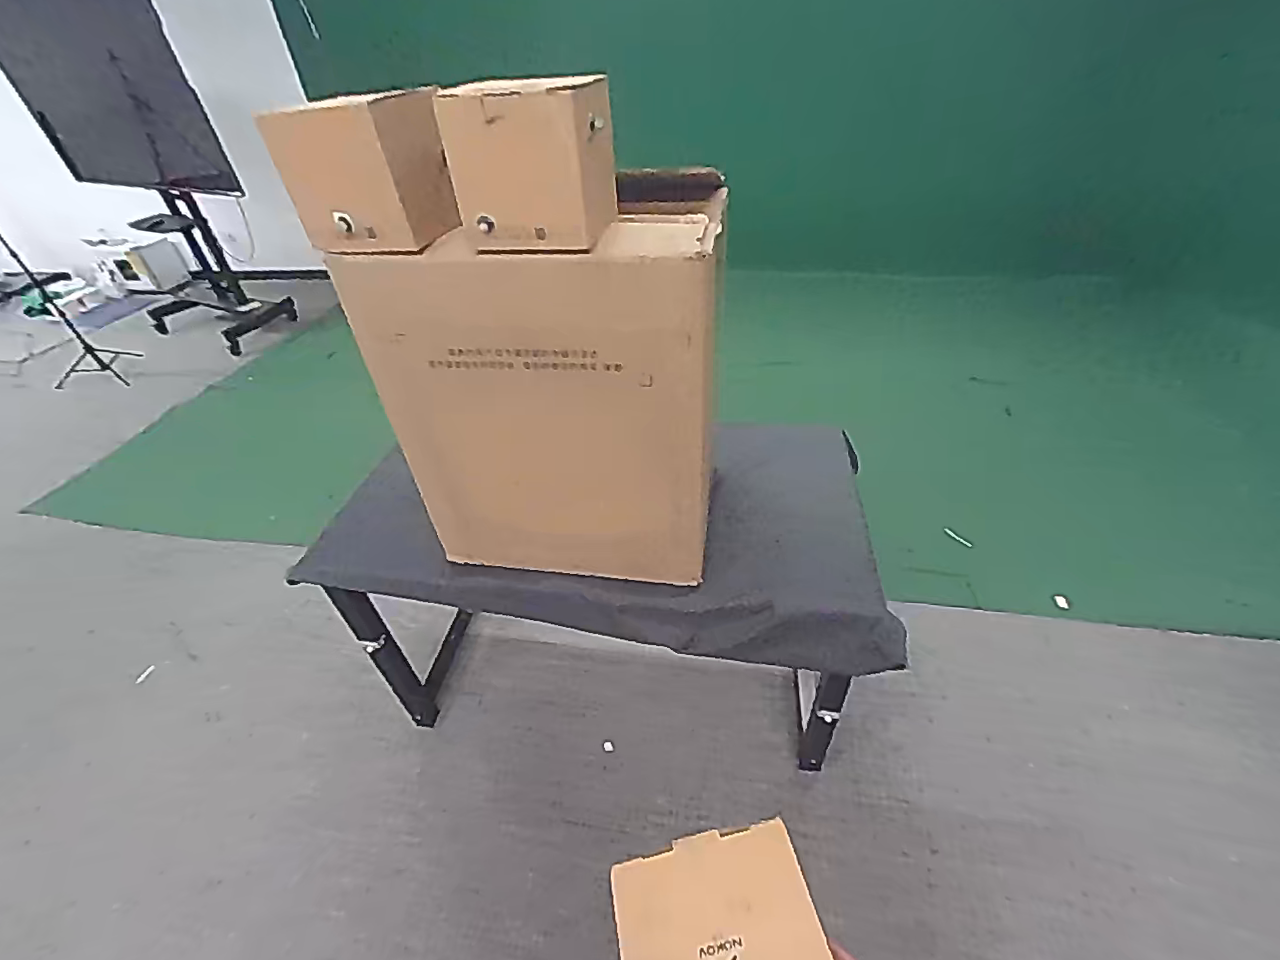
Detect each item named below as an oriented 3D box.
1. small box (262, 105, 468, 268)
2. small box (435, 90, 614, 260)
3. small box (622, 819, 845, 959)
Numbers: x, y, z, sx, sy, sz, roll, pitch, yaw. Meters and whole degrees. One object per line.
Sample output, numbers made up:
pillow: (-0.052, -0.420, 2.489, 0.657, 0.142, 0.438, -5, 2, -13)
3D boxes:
small box: (-0.361, -0.407, 0.755, 0.168, 0.176, 0.179, 2, 40, 13)
small box: (-0.134, -0.398, 0.712, 0.168, 0.176, 0.179, 4, 39, 10)
small box: (0.091, 0.443, 0.471, 0.168, 0.176, 0.179, -17, 37, -2)
